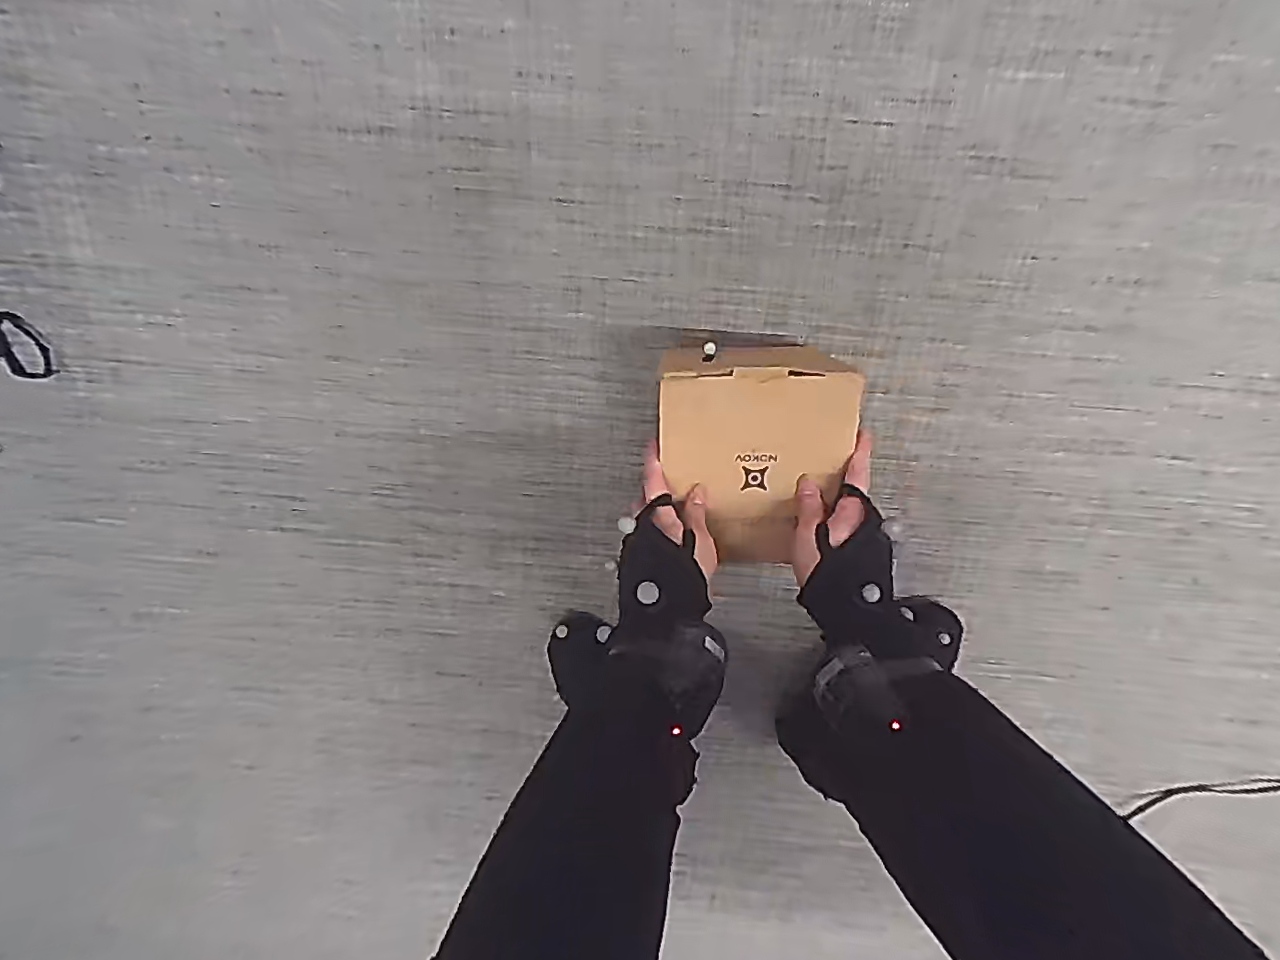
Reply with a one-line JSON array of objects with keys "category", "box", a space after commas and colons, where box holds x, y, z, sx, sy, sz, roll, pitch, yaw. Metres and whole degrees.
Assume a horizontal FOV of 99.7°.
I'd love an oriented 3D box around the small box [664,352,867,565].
[{"category": "small box", "box": [0.107, -0.032, 0.539, 0.168, 0.176, 0.179, 0, 111, 4]}]
